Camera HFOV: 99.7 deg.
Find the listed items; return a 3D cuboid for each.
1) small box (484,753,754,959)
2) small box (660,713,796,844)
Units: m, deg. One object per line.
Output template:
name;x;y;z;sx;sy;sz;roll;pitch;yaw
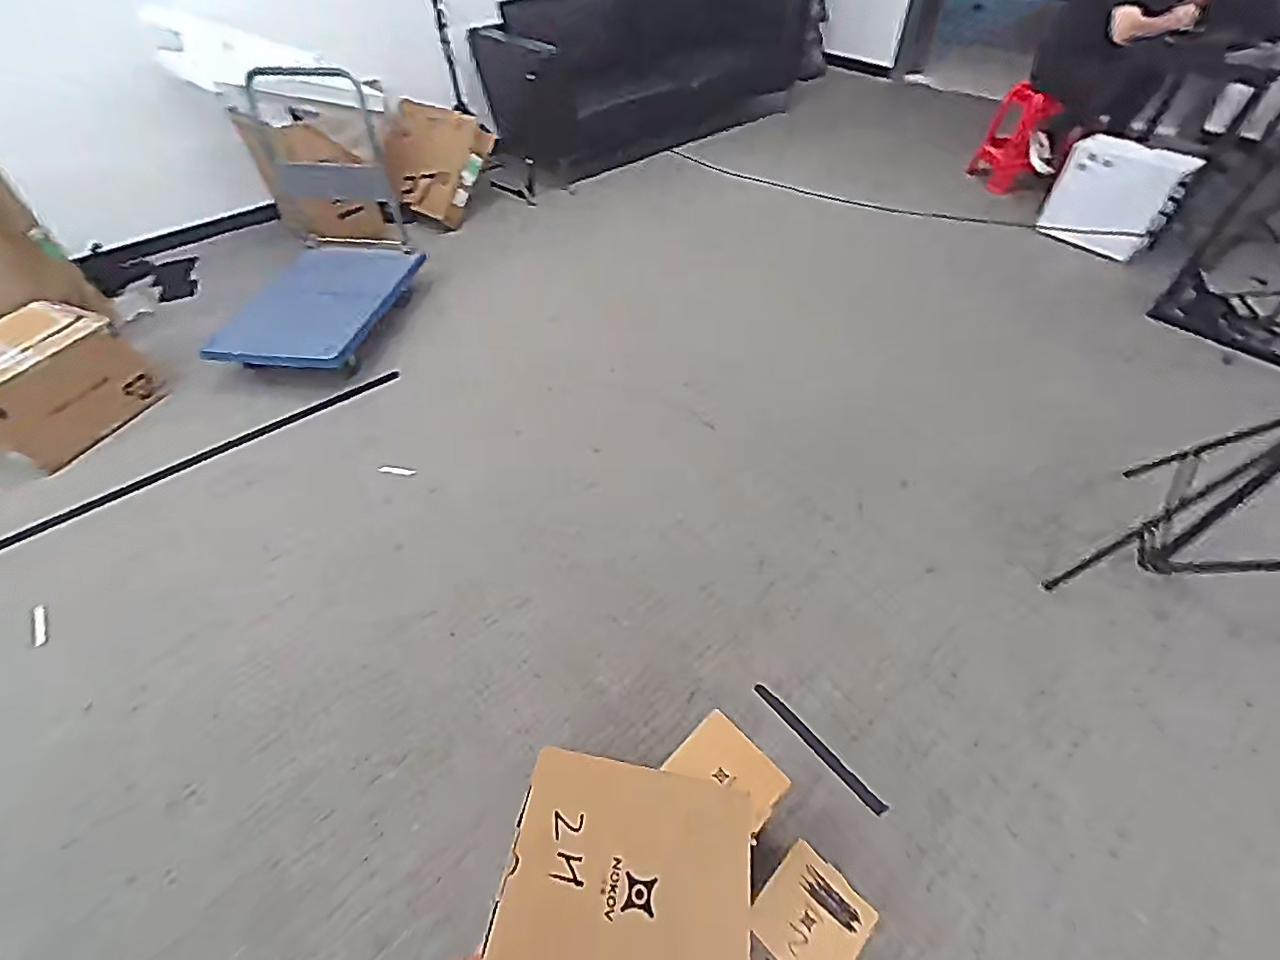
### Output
small box;-0.016;0.348;0.426;0.179;0.176;0.168;10;41;2
small box;0.150;0.572;0.985;0.168;0.176;0.179;-36;57;-26
